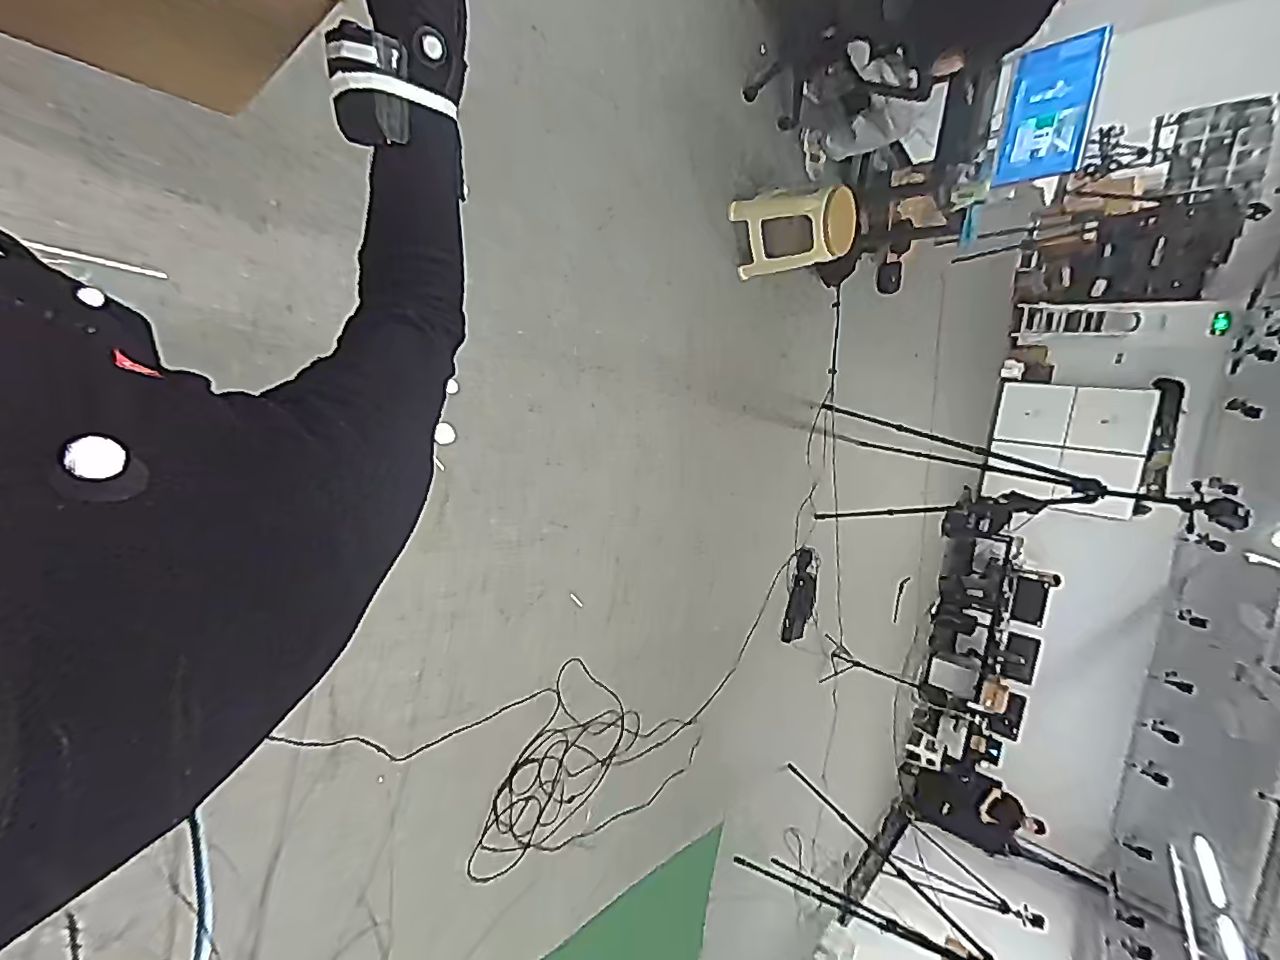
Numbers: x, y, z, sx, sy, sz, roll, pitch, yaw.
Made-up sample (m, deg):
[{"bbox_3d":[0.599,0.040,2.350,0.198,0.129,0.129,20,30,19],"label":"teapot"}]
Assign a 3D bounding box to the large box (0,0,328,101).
[{"bbox_3d":[-0.418,-0.481,0.276,0.408,0.320,0.320,-5,106,-47],"label":"large box"}]
